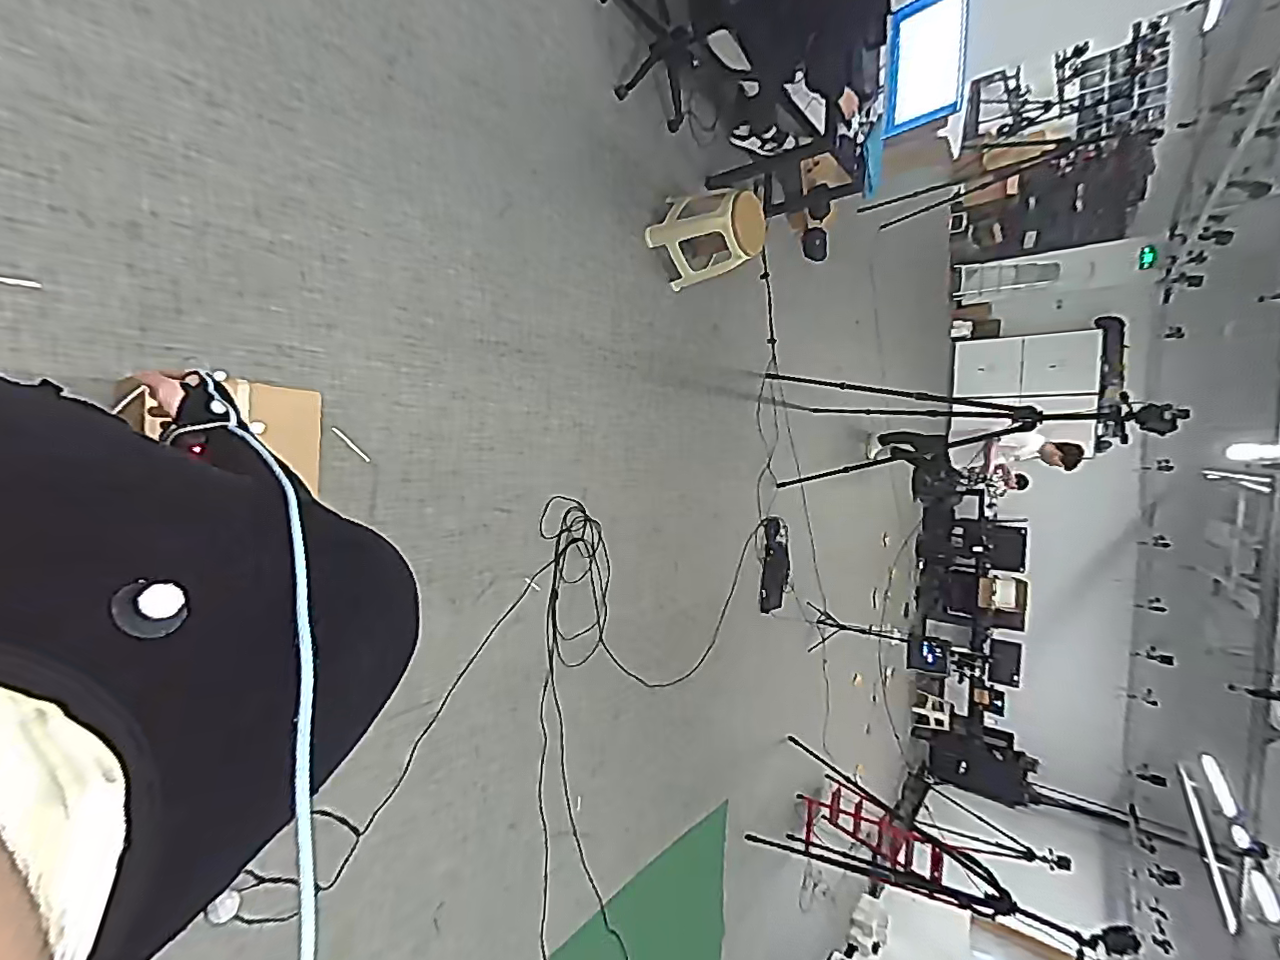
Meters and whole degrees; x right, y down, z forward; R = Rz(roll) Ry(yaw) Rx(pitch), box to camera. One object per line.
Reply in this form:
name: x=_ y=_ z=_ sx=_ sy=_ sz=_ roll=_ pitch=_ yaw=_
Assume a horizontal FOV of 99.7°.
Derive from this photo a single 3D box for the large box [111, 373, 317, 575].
large box: x=-0.981 y=-0.024 z=1.251 sx=0.320 sy=0.320 sz=0.408 roll=0 pitch=94 yaw=-52
